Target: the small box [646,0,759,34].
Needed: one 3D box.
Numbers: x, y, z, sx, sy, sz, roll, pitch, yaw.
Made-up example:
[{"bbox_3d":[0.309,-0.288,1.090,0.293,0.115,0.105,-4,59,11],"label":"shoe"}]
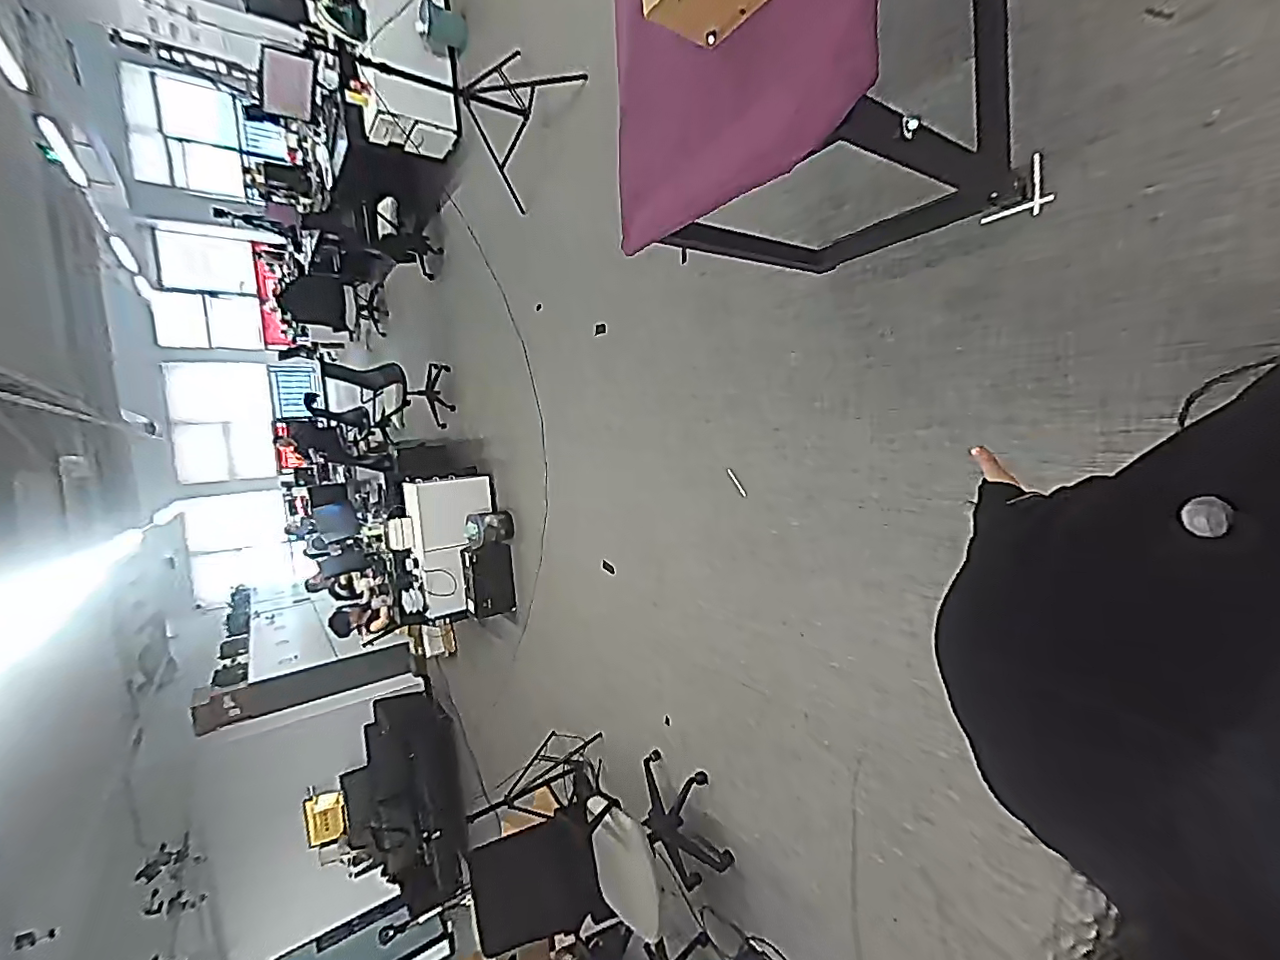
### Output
[{"bbox_3d":[0.121,-0.929,0.944,0.168,0.176,0.179,4,98,54],"label":"small box"}]
